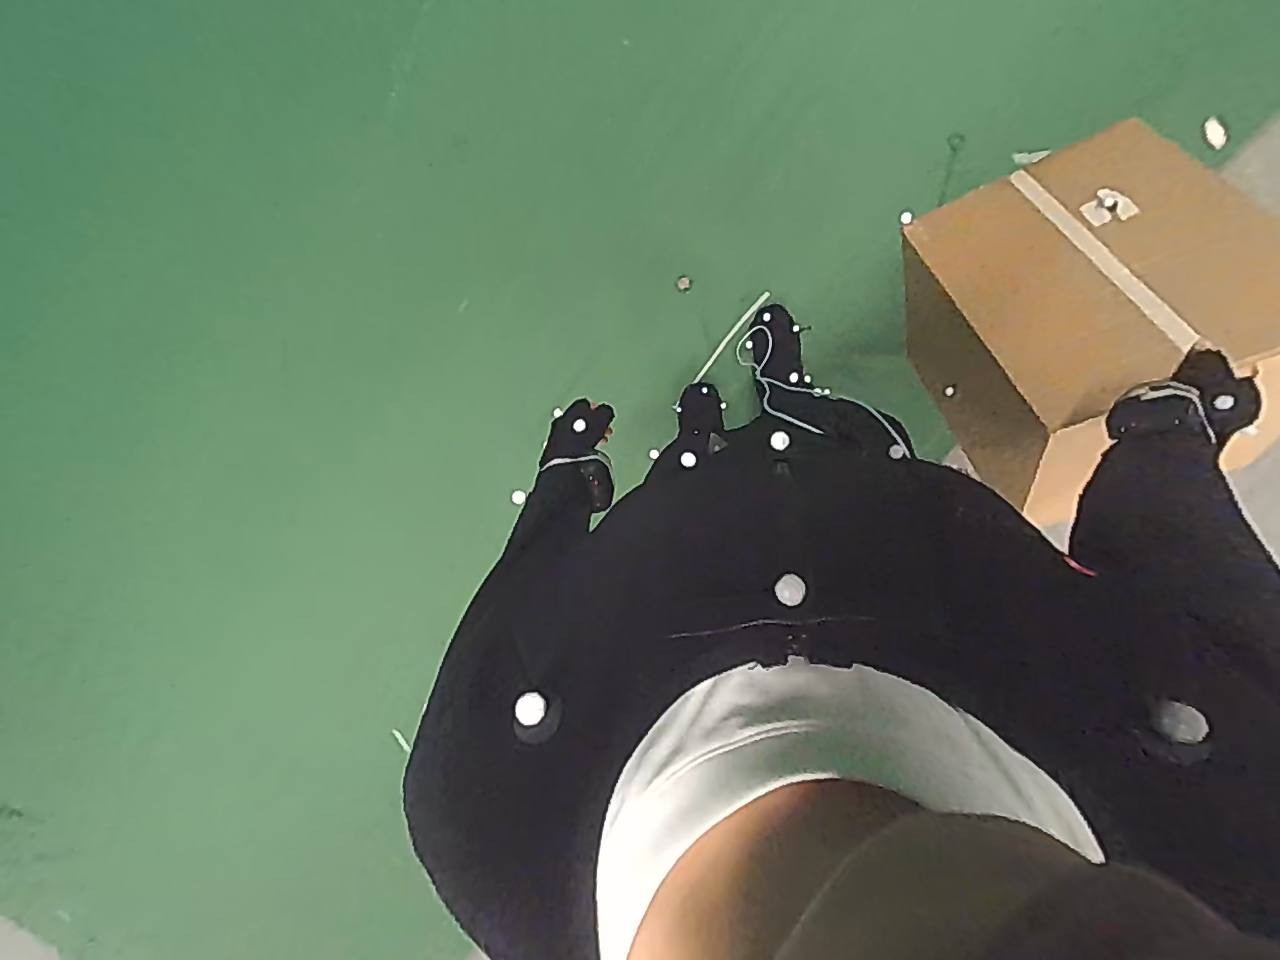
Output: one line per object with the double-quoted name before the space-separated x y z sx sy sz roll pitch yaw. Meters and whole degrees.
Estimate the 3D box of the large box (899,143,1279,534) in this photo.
"large box" 0.632 -0.190 0.805 0.320 0.408 0.320 -21 145 16
